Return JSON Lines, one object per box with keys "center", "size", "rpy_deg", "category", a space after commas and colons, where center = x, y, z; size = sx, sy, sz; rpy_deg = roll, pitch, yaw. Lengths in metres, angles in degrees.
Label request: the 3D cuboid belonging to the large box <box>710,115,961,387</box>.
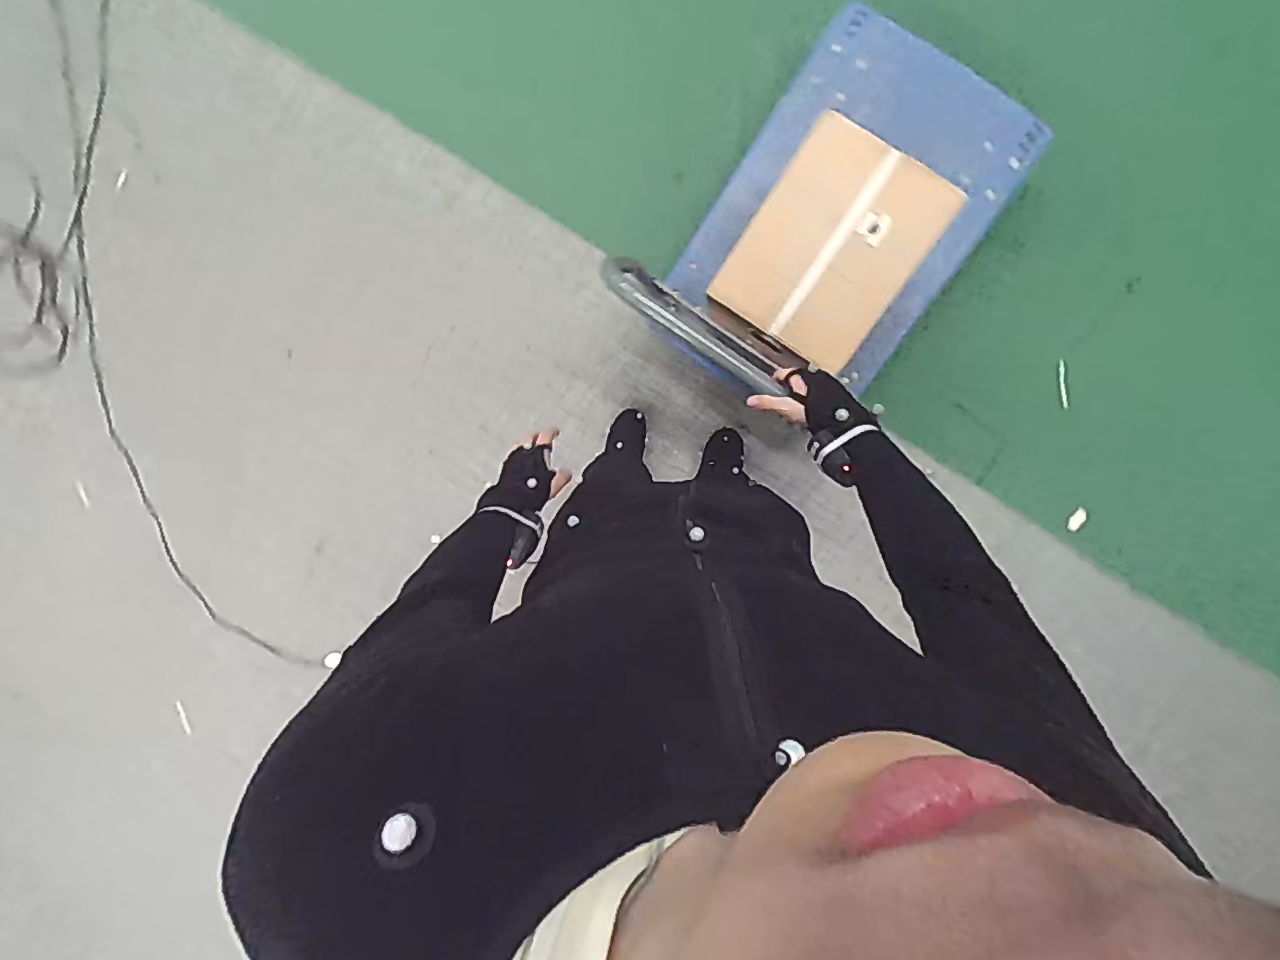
{"center": [0.392, -0.463, 1.196], "size": [0.320, 0.320, 0.408], "rpy_deg": [36, 100, 3], "category": "large box"}
